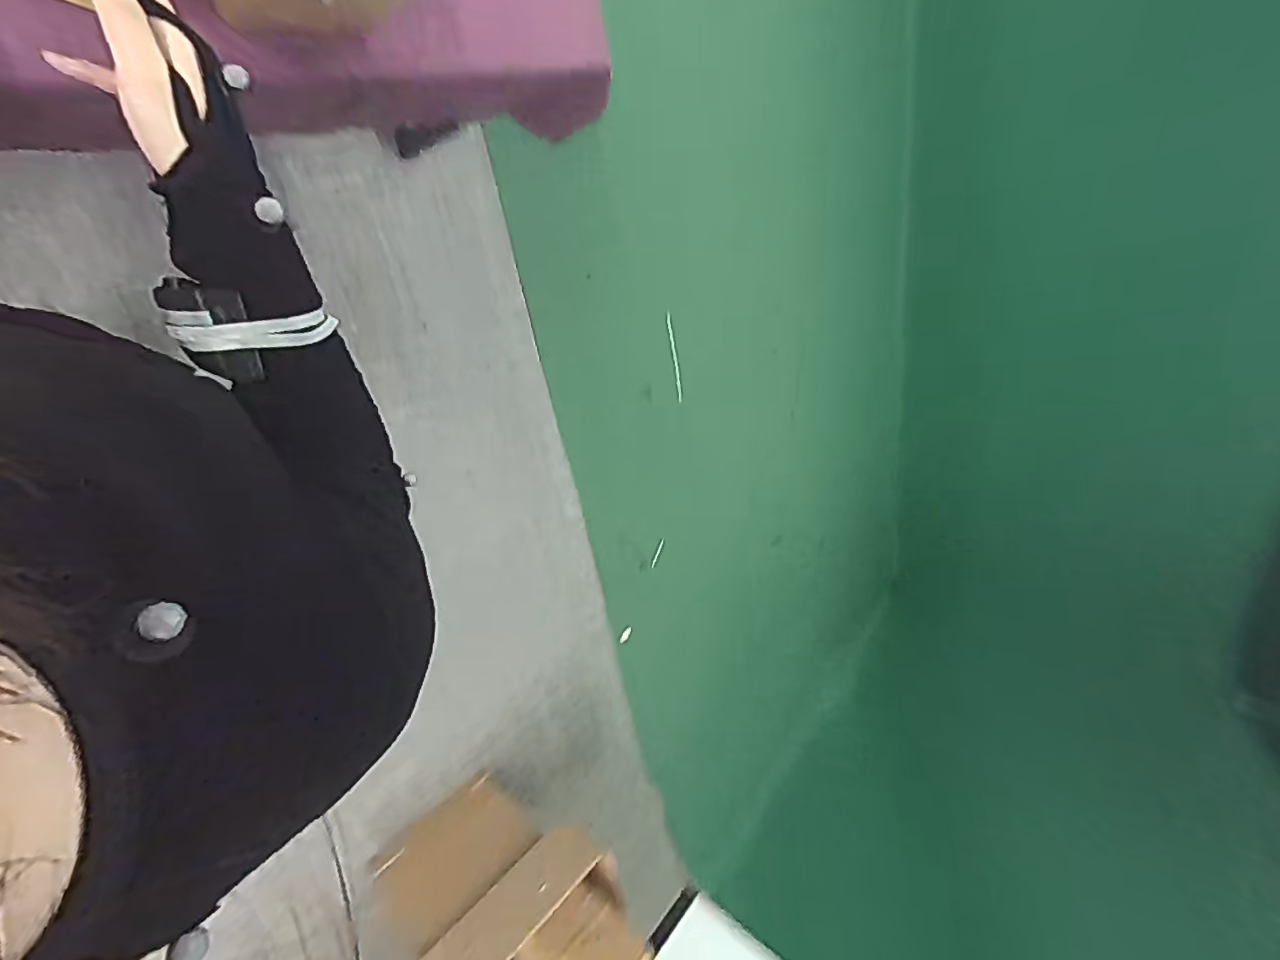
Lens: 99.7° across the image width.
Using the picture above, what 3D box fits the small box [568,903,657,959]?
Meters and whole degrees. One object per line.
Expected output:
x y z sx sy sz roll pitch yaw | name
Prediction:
-0.069 1.274 1.414 0.168 0.176 0.179 -24 116 -40 | small box
